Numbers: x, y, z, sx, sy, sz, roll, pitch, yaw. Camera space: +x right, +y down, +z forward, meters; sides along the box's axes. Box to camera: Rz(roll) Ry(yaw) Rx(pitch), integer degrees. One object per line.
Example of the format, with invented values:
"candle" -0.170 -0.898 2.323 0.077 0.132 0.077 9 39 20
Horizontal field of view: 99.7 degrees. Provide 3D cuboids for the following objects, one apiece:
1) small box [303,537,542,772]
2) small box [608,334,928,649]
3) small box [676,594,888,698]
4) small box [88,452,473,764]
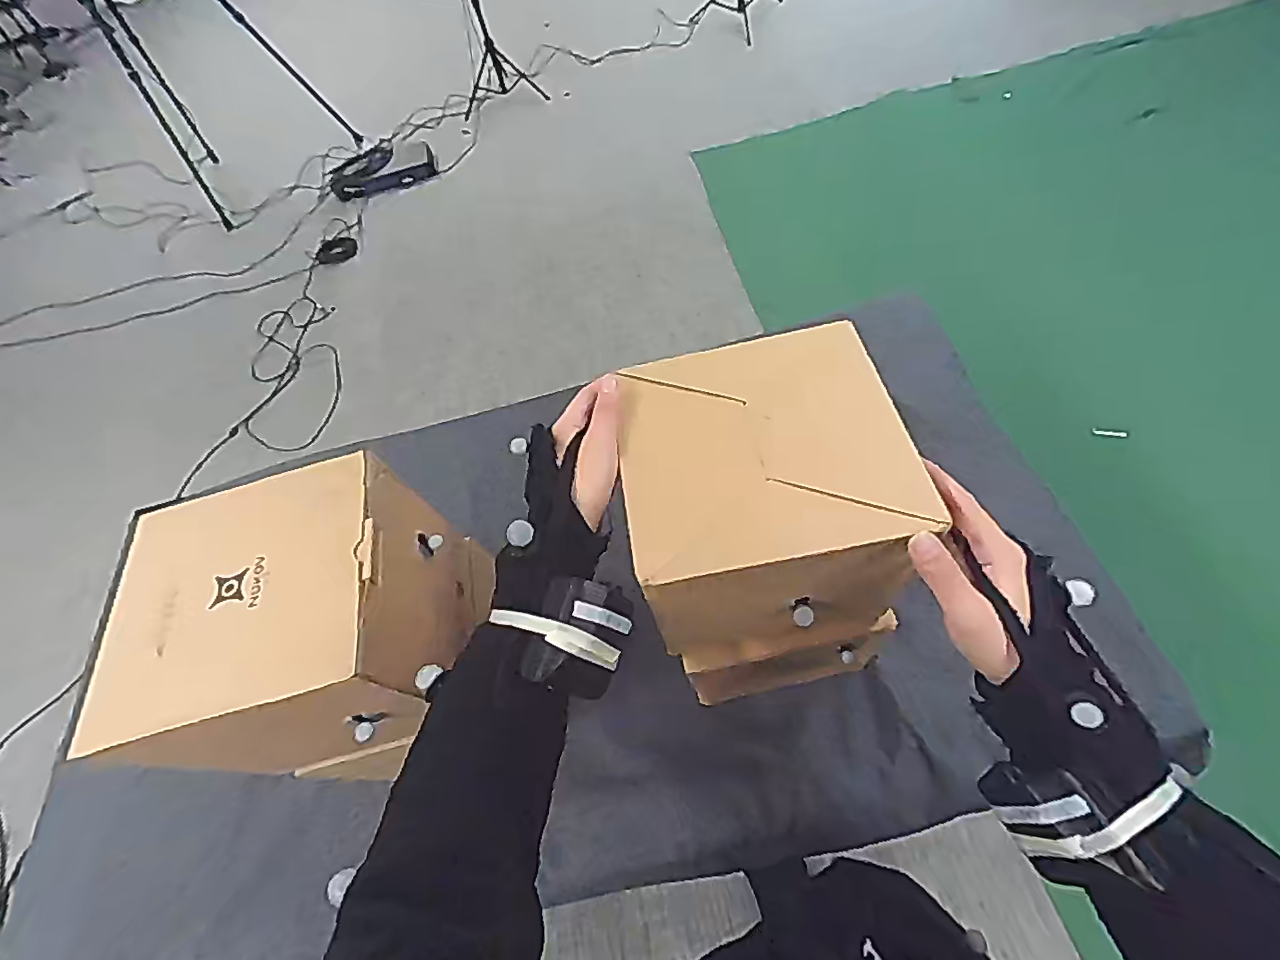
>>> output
"small box" -0.211 0.187 0.560 0.168 0.176 0.179 -16 59 2
"small box" 0.085 0.014 0.413 0.179 0.176 0.168 -12 58 3
"small box" 0.117 0.109 0.547 0.179 0.176 0.168 -14 58 2
"small box" -0.243 0.108 0.422 0.179 0.176 0.168 -17 57 1
